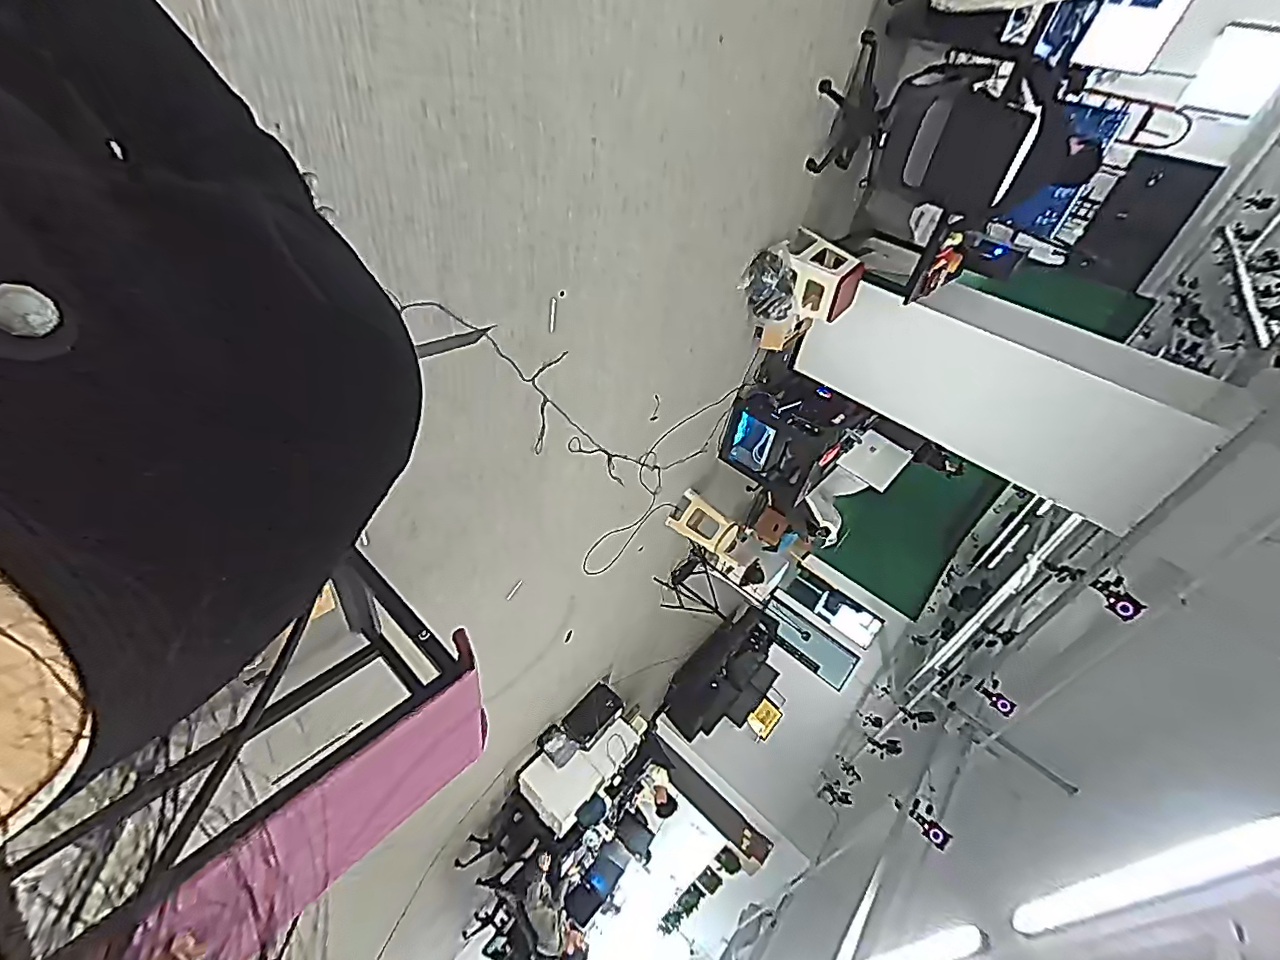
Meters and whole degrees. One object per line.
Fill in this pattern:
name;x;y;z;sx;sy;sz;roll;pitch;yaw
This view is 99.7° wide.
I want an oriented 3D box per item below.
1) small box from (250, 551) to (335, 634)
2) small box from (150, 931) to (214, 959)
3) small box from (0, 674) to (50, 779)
small box;-1.136;0.357;1.769;0.168;0.176;0.179;-32;148;-41
small box;-1.041;1.157;1.186;0.179;0.176;0.168;-32;148;-42
small box;-1.576;0.608;1.299;0.179;0.176;0.168;-19;136;-54
